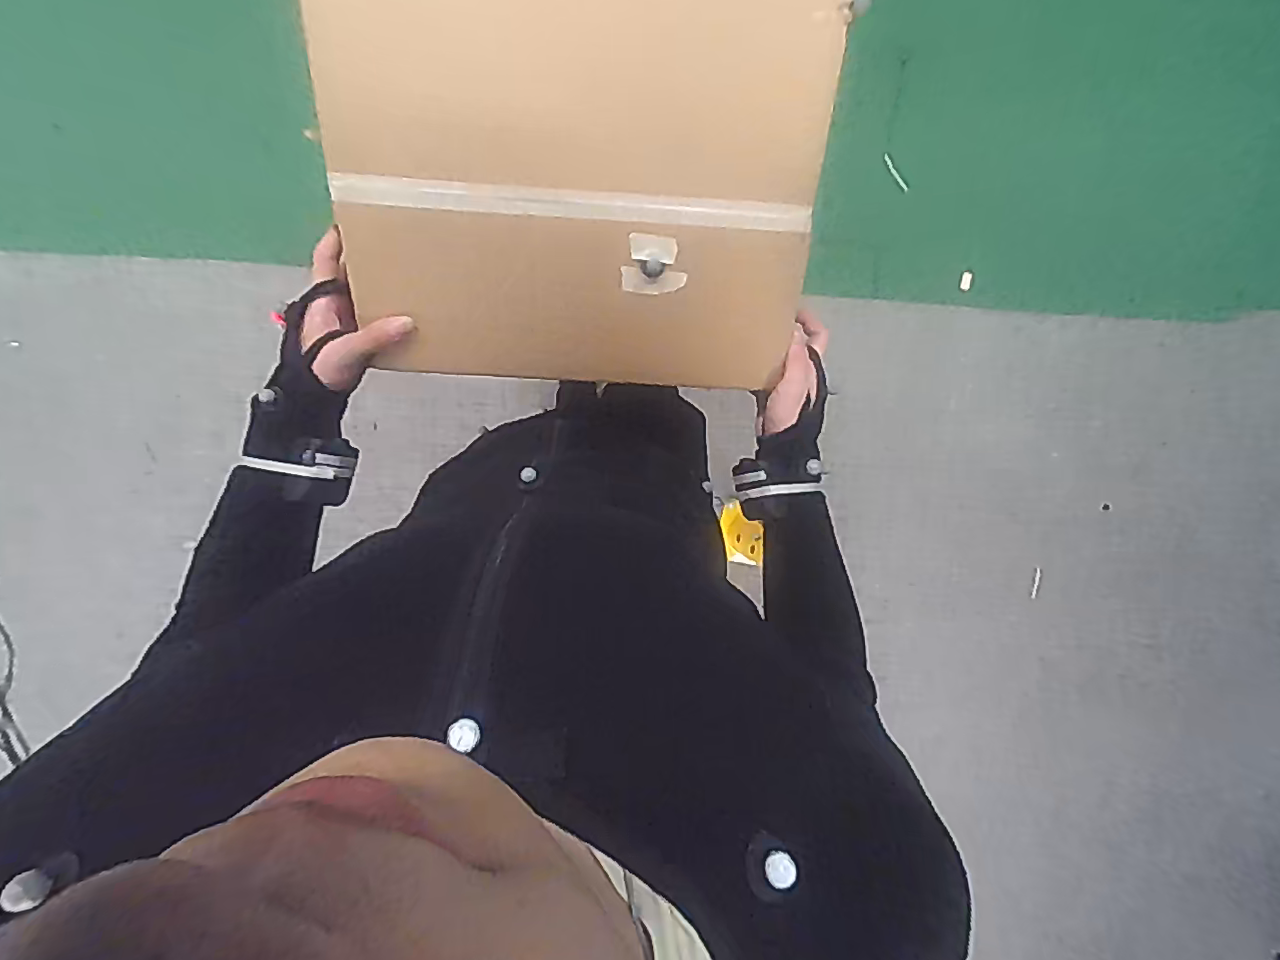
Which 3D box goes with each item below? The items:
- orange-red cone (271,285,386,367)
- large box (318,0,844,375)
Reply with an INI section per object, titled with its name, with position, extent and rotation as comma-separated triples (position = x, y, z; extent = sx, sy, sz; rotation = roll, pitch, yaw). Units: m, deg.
[orange-red cone]
position = -0.779, -0.390, 1.318
extent = 0.199, 0.360, 0.198
rotation = 9, 100, -5
[large box]
position = -0.056, -0.314, 0.598
extent = 0.408, 0.320, 0.320
rotation = 2, 118, -4
